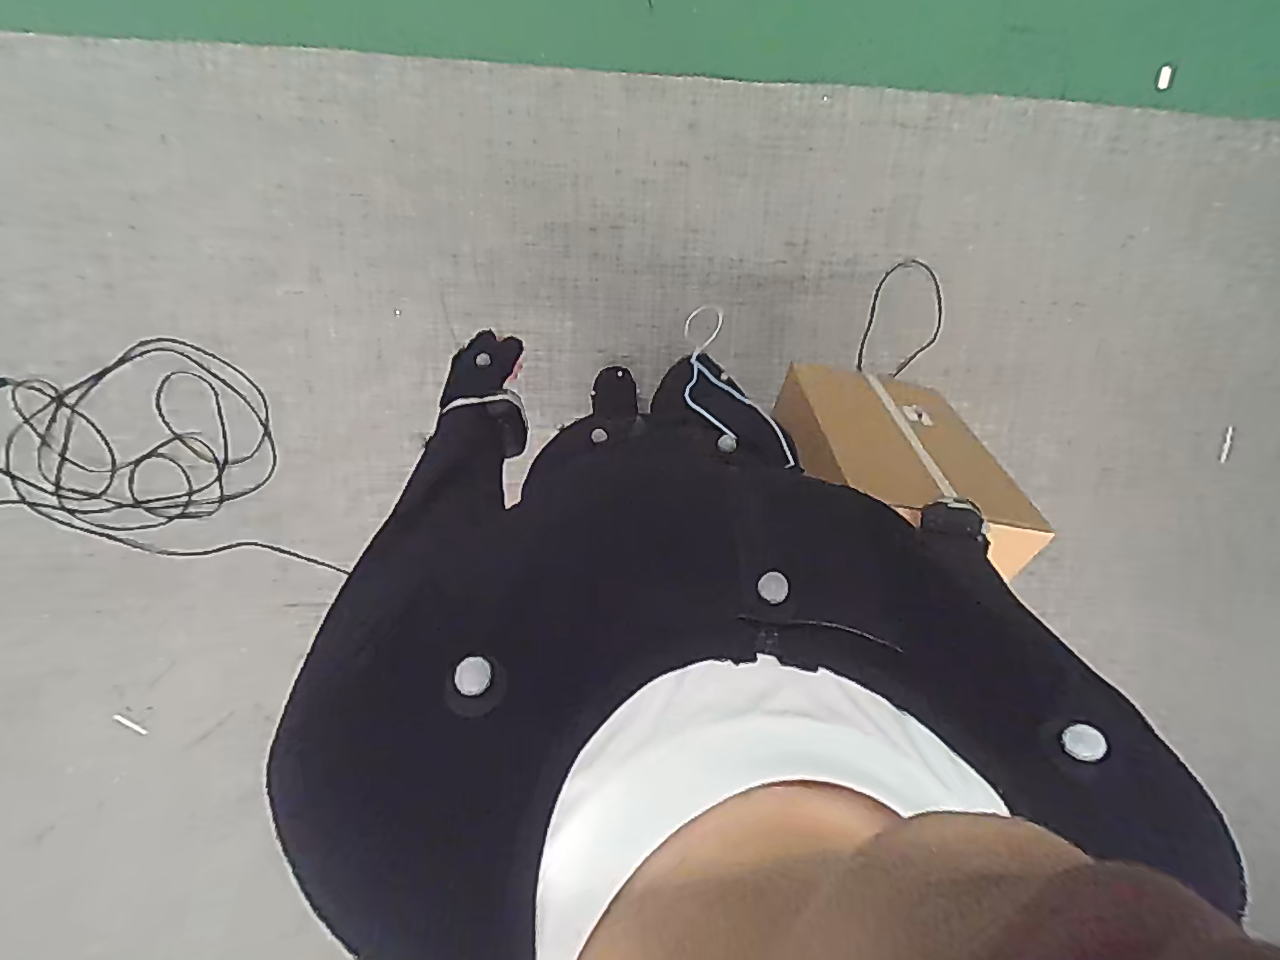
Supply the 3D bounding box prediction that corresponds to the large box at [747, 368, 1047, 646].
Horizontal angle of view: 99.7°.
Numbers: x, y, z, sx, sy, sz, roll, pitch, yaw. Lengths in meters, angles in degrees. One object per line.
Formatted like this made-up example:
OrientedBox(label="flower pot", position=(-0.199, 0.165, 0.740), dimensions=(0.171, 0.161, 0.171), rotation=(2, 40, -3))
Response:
OrientedBox(label="large box", position=(0.415, 0.044, 1.006), dimensions=(0.320, 0.408, 0.320), rotation=(10, 129, -7))
